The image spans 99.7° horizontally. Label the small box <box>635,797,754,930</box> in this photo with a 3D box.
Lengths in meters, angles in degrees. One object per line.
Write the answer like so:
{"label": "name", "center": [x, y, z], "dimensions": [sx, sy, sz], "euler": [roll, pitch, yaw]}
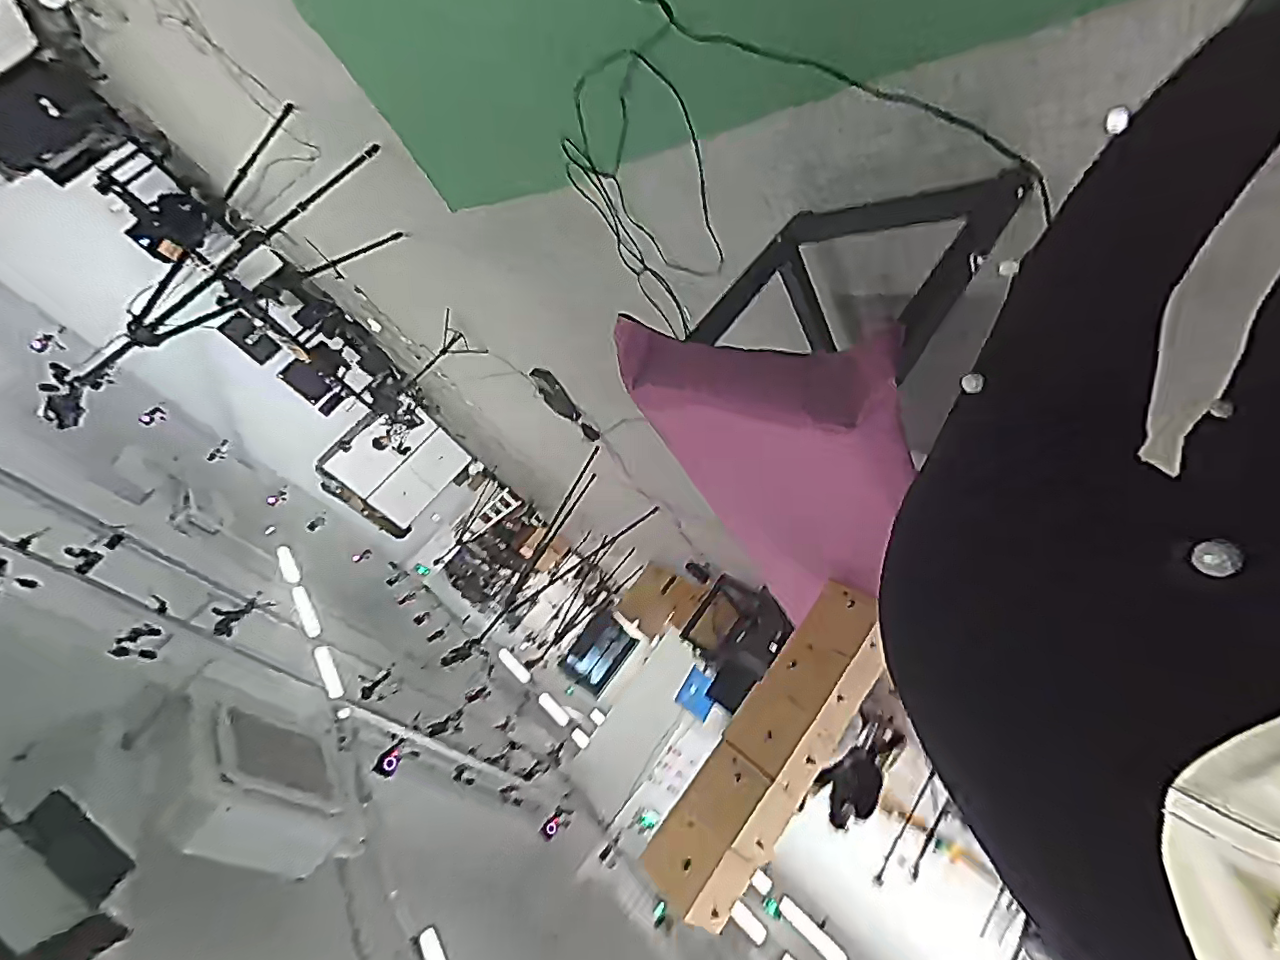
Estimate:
{"label": "small box", "center": [0.128, 0.863, 1.229], "dimensions": [0.168, 0.176, 0.179], "euler": [21, 155, 51]}

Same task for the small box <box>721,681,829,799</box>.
{"label": "small box", "center": [0.337, 0.628, 1.320], "dimensions": [0.179, 0.176, 0.168], "euler": [21, 154, 50]}

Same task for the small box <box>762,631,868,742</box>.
{"label": "small box", "center": [0.442, 0.510, 1.358], "dimensions": [0.168, 0.176, 0.179], "euler": [22, 156, 50]}

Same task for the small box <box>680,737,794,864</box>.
{"label": "small box", "center": [0.234, 0.748, 1.272], "dimensions": [0.168, 0.176, 0.179], "euler": [21, 154, 51]}
